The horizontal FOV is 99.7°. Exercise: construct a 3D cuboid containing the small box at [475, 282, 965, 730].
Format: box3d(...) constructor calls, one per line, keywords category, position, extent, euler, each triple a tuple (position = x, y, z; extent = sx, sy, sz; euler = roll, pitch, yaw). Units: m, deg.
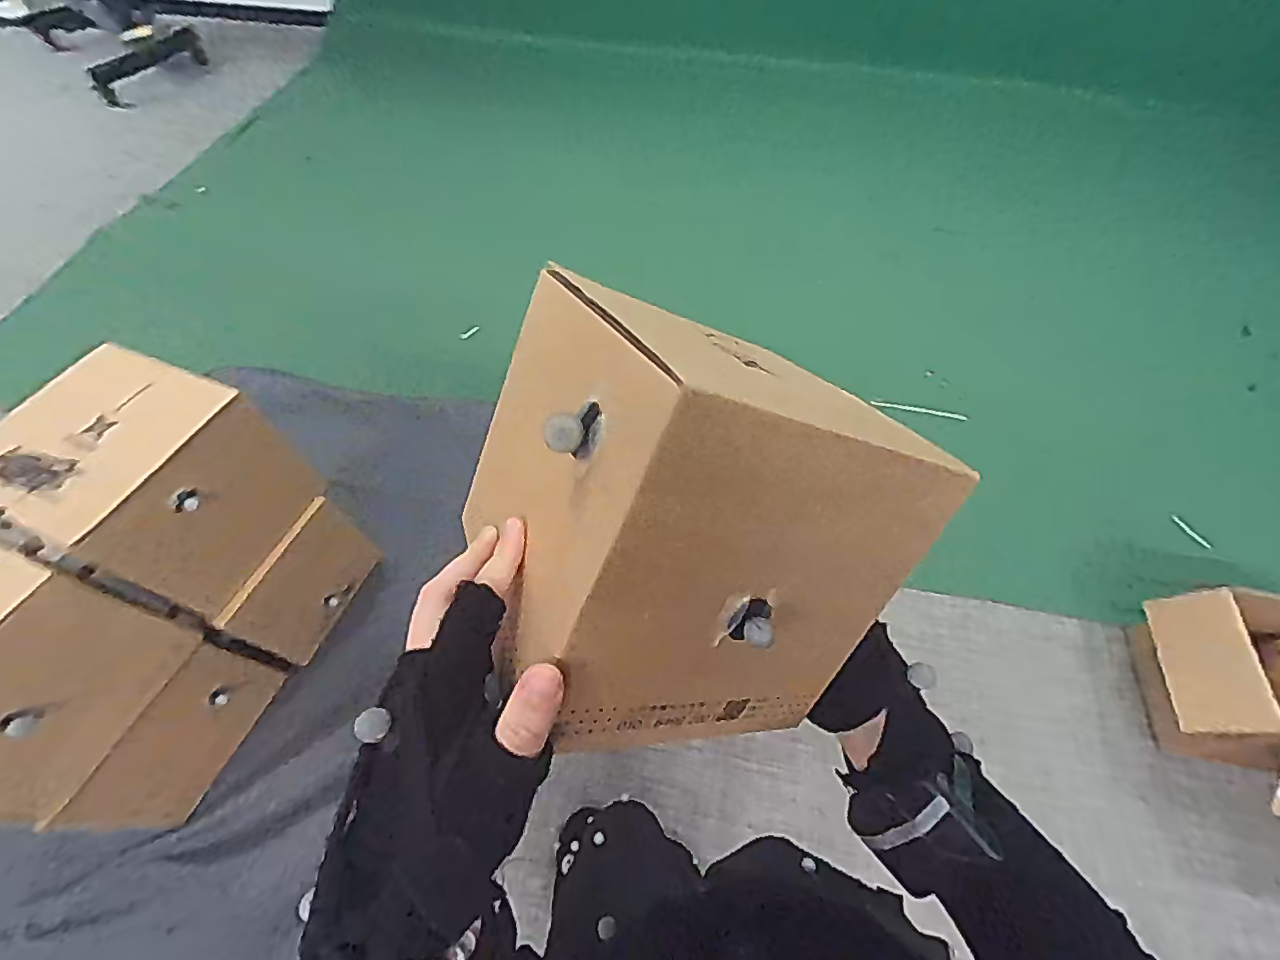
box3d(category="small box", position=(0.018, 0.016, 0.299), extent=(0.168, 0.176, 0.179), euler=(12, 24, -30))
